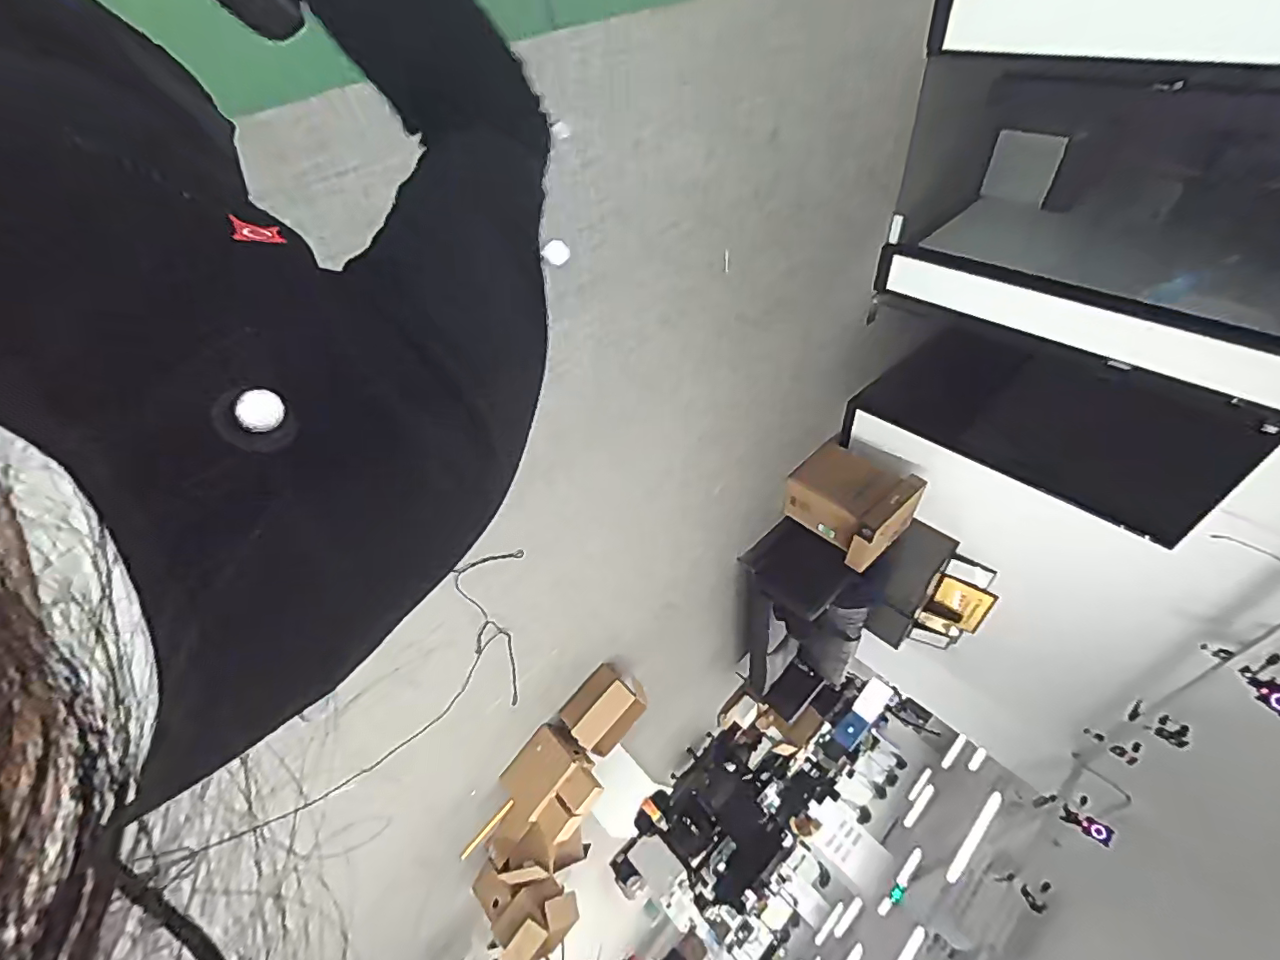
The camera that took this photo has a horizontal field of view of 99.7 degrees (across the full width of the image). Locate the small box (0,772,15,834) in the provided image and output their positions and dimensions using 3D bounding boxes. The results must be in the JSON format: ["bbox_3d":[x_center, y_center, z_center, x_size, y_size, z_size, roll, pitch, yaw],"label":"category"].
[{"bbox_3d":[-1.600,0.768,1.223,0.179,0.176,0.168,-40,145,-21],"label":"small box"}]
